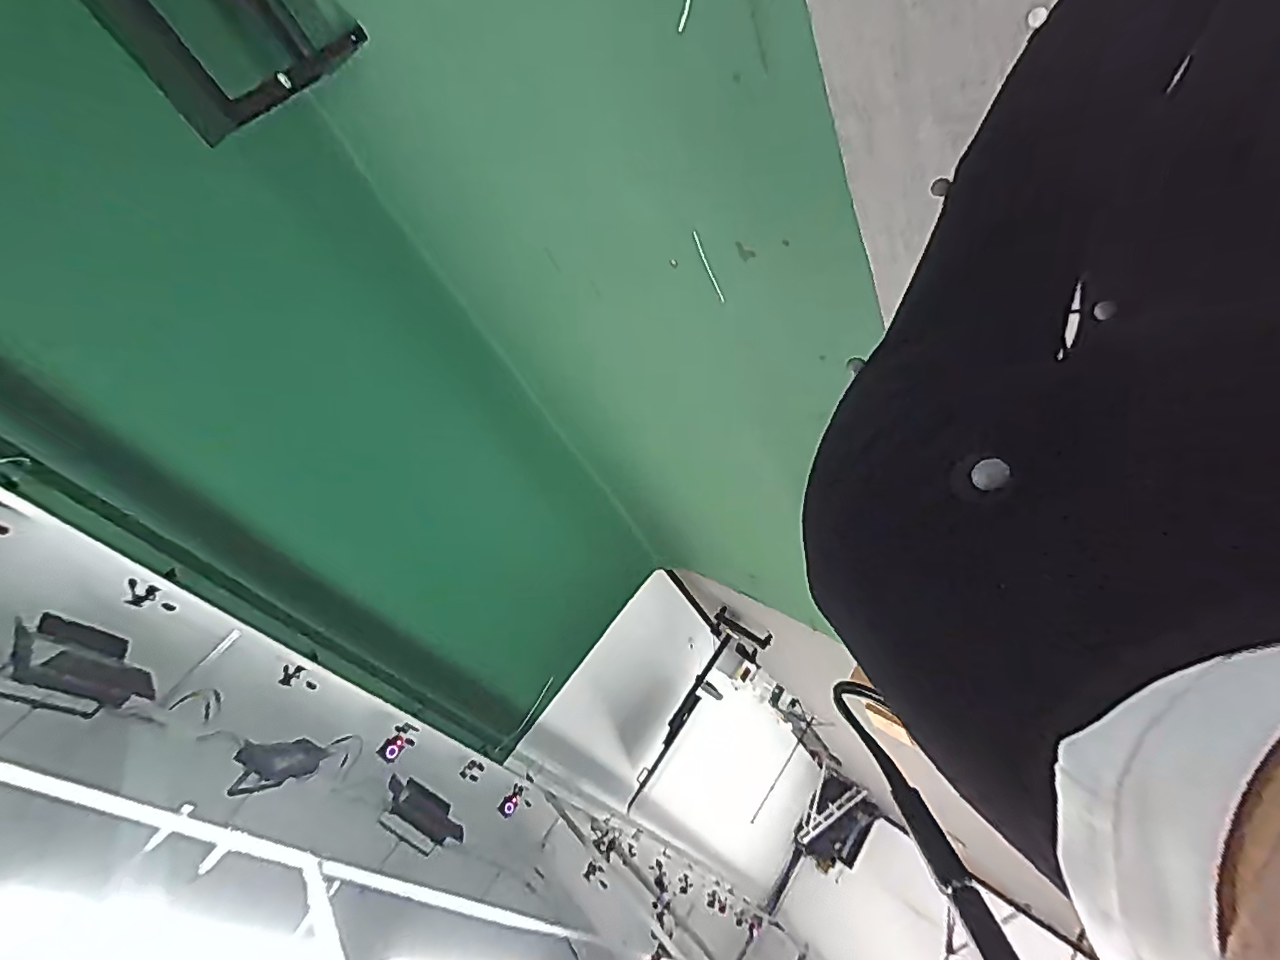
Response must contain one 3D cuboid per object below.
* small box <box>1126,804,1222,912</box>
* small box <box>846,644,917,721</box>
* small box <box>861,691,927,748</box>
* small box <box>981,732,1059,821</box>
[{"bbox_3d":[1.516,1.068,1.538,0.168,0.176,0.179,15,149,51],"label":"small box"},{"bbox_3d":[0.885,0.733,1.967,0.168,0.176,0.179,15,149,48],"label":"small box"},{"bbox_3d":[1.007,0.912,2.136,0.168,0.176,0.179,15,148,49],"label":"small box"},{"bbox_3d":[1.277,0.988,1.810,0.168,0.176,0.179,14,147,50],"label":"small box"}]
